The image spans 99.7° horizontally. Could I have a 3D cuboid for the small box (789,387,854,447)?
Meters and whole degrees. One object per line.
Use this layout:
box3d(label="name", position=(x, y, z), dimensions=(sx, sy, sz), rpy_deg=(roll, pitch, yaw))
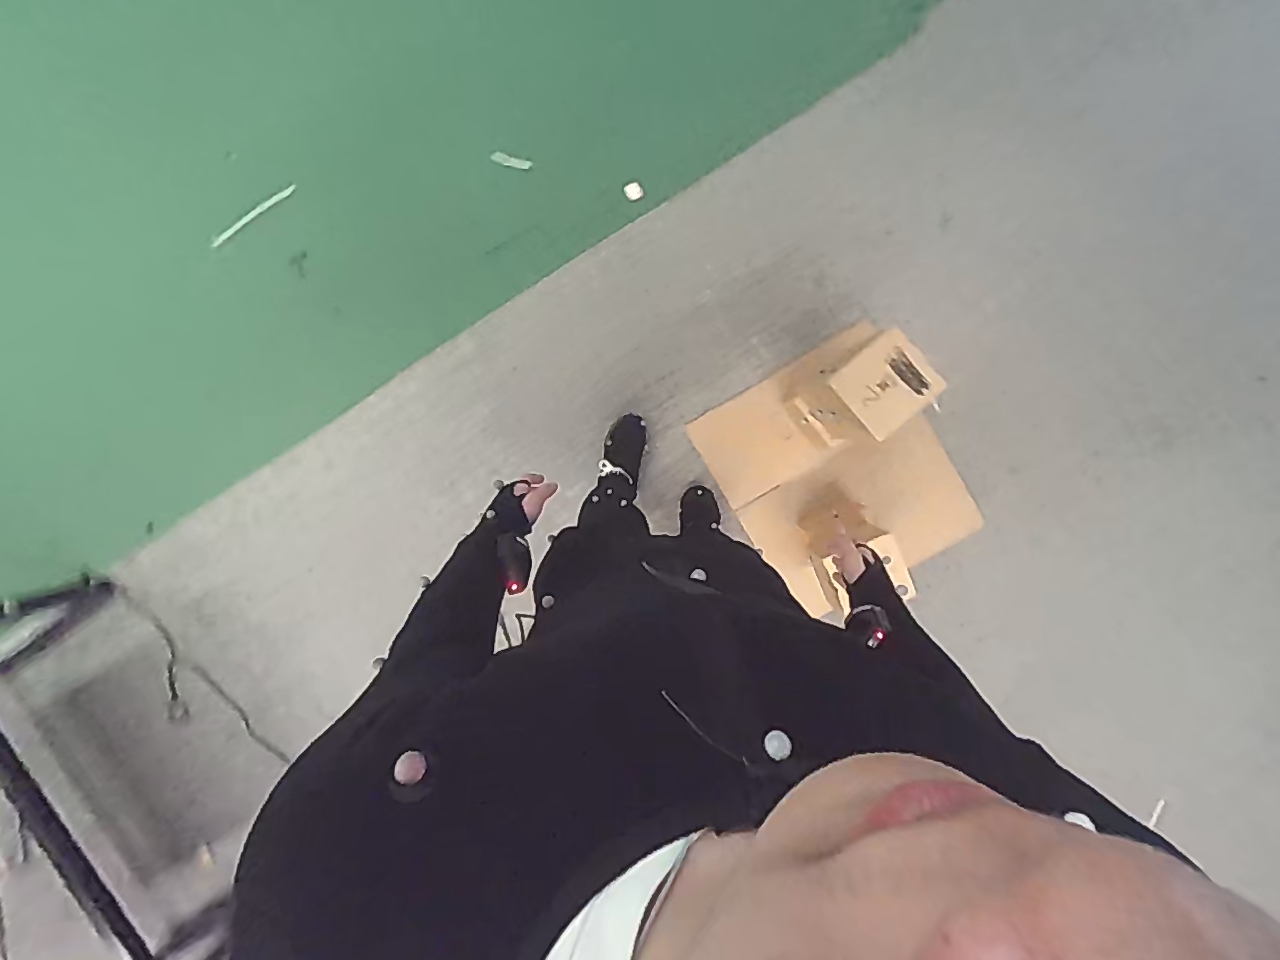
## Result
box3d(label="small box", position=(0.533, -0.207, 1.472), dimensions=(0.179, 0.176, 0.168), rpy_deg=(-38, 91, 5))

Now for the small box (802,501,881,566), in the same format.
box3d(label="small box", position=(0.566, 0.169, 1.495), dimensions=(0.179, 0.176, 0.168), rpy_deg=(-25, 92, 5))

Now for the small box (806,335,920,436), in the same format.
box3d(label="small box", position=(0.524, -0.219, 1.306), dimensions=(0.179, 0.176, 0.168), rpy_deg=(-37, 92, 5))

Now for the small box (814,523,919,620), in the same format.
box3d(label="small box", position=(0.545, 0.219, 1.334), dimensions=(0.179, 0.176, 0.168), rpy_deg=(-21, 93, 4))
